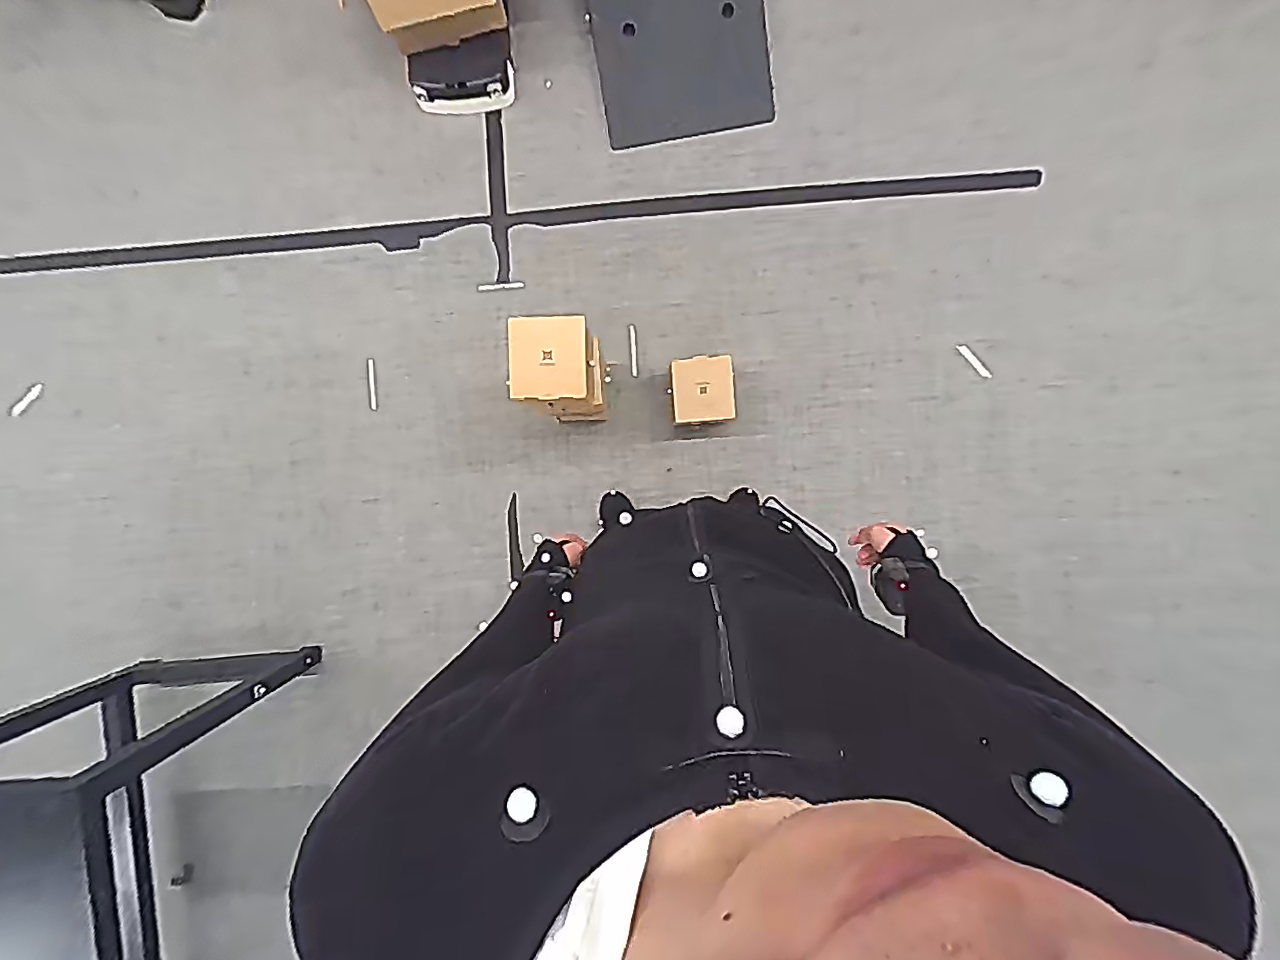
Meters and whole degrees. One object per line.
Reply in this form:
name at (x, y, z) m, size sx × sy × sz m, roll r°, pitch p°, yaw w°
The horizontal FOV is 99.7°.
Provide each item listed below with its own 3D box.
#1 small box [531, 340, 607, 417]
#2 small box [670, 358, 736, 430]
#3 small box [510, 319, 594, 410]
small box at (-0.180, -0.253, 1.380) m, size 0.179 × 0.176 × 0.168 m, roll -3°, pitch 92°, yaw 0°
small box at (0.175, -0.241, 1.541) m, size 0.168 × 0.176 × 0.179 m, roll -5°, pitch 93°, yaw 3°
small box at (-0.193, -0.254, 1.217) m, size 0.168 × 0.176 × 0.179 m, roll -1°, pitch 92°, yaw 1°
